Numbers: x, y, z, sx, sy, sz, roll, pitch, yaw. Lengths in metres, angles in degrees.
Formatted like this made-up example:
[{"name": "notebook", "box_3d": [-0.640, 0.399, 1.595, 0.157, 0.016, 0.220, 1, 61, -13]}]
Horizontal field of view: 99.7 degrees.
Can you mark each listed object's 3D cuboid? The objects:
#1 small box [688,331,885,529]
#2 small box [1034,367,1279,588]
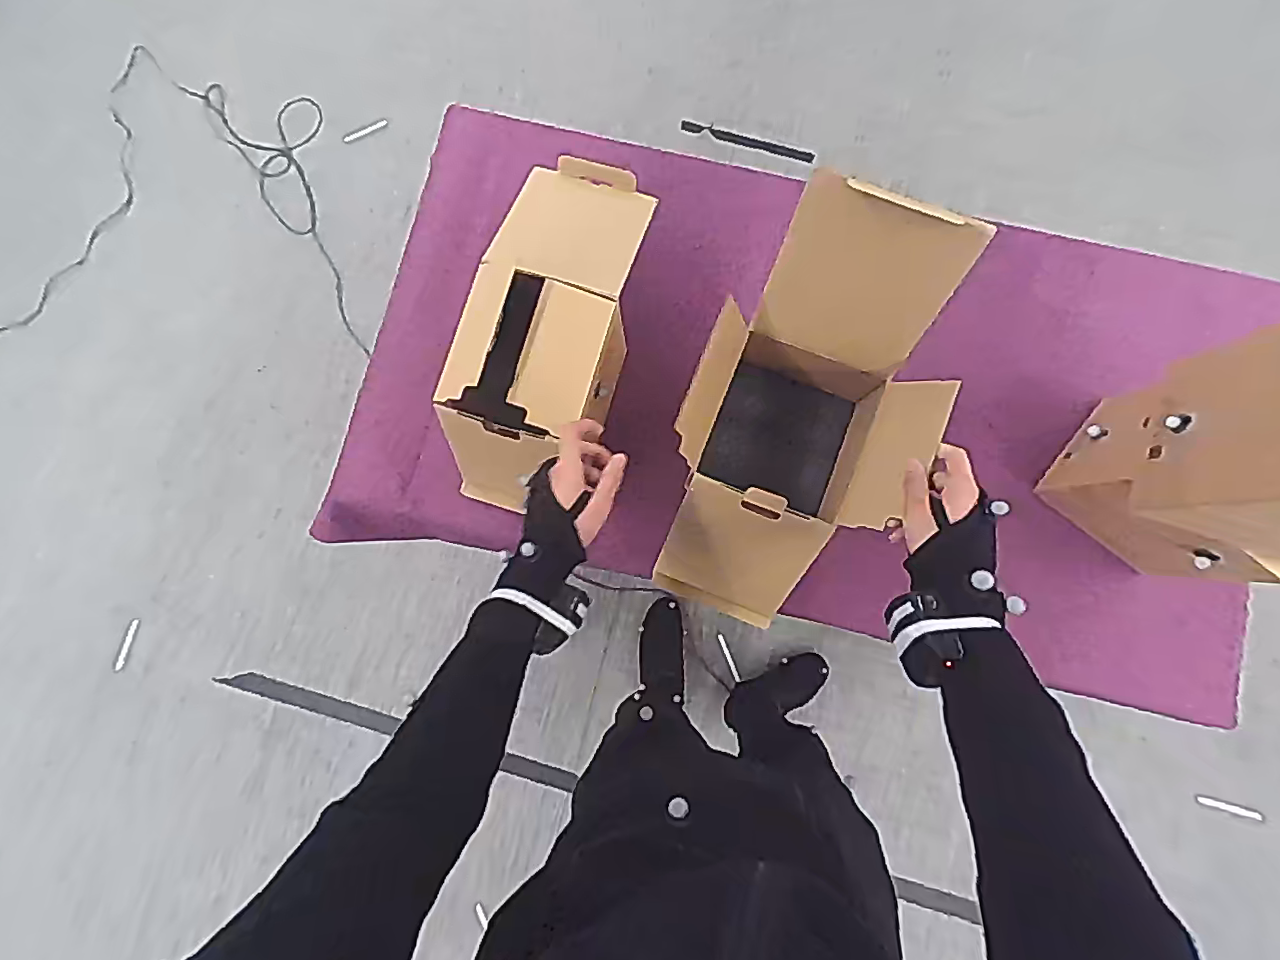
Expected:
[{"name": "small box", "box_3d": [0.163, -0.047, 0.663, 0.168, 0.176, 0.179, 22, 84, 4]}, {"name": "small box", "box_3d": [0.633, 0.002, 0.638, 0.179, 0.176, 0.168, 40, 86, 6]}]
